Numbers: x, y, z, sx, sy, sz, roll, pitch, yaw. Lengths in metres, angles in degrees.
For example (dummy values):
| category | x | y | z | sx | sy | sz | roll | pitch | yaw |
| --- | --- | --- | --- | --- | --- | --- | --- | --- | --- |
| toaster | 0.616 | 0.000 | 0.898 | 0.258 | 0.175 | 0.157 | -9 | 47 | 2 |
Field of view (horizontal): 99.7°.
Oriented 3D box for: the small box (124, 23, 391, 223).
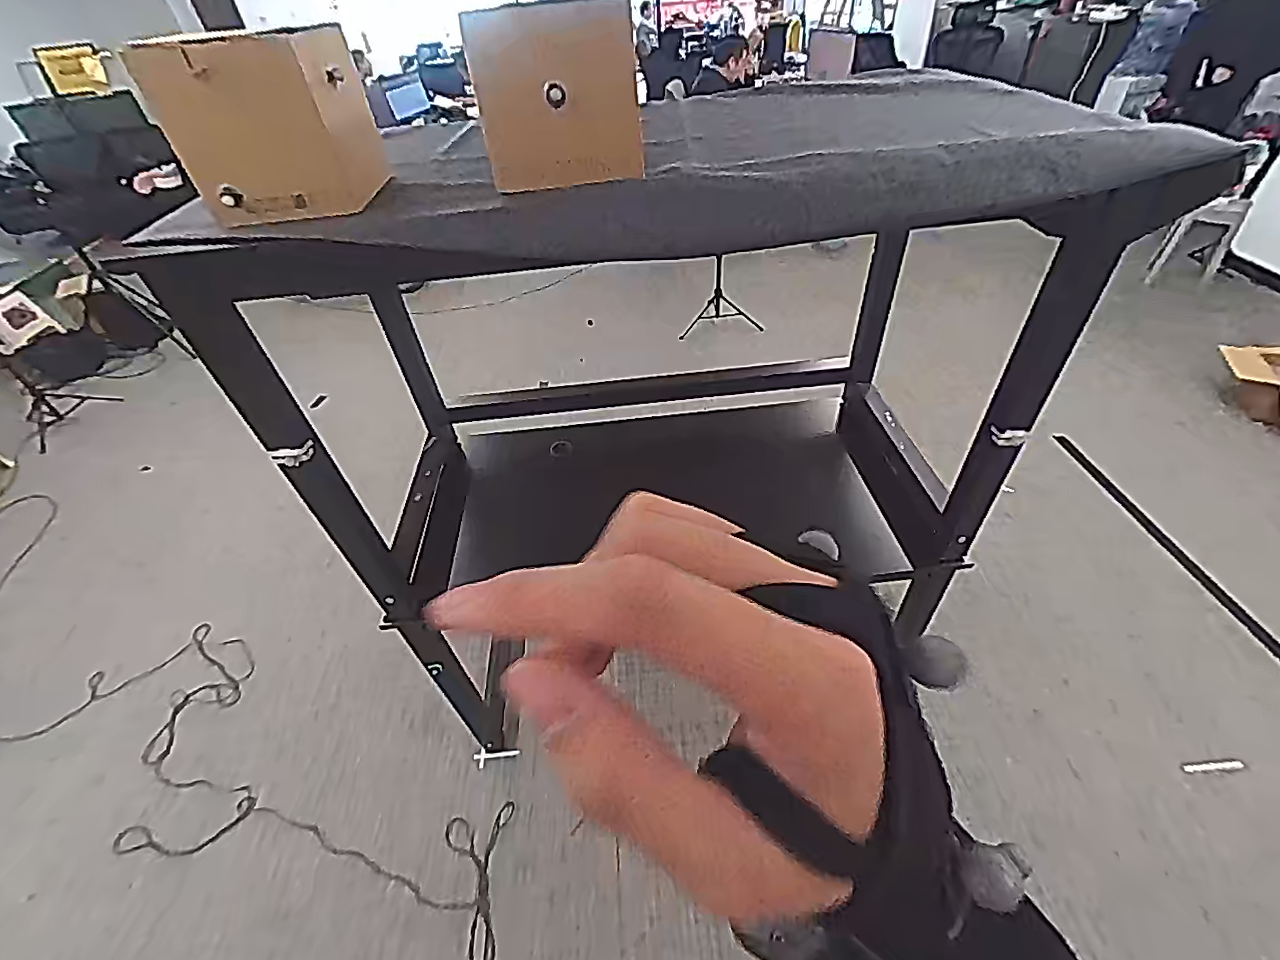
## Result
| category | x | y | z | sx | sy | sz | roll | pitch | yaw |
| --- | --- | --- | --- | --- | --- | --- | --- | --- | --- |
| small box | -0.418 | -0.413 | 0.635 | 0.168 | 0.176 | 0.179 | -7 | 43 | -1 |
